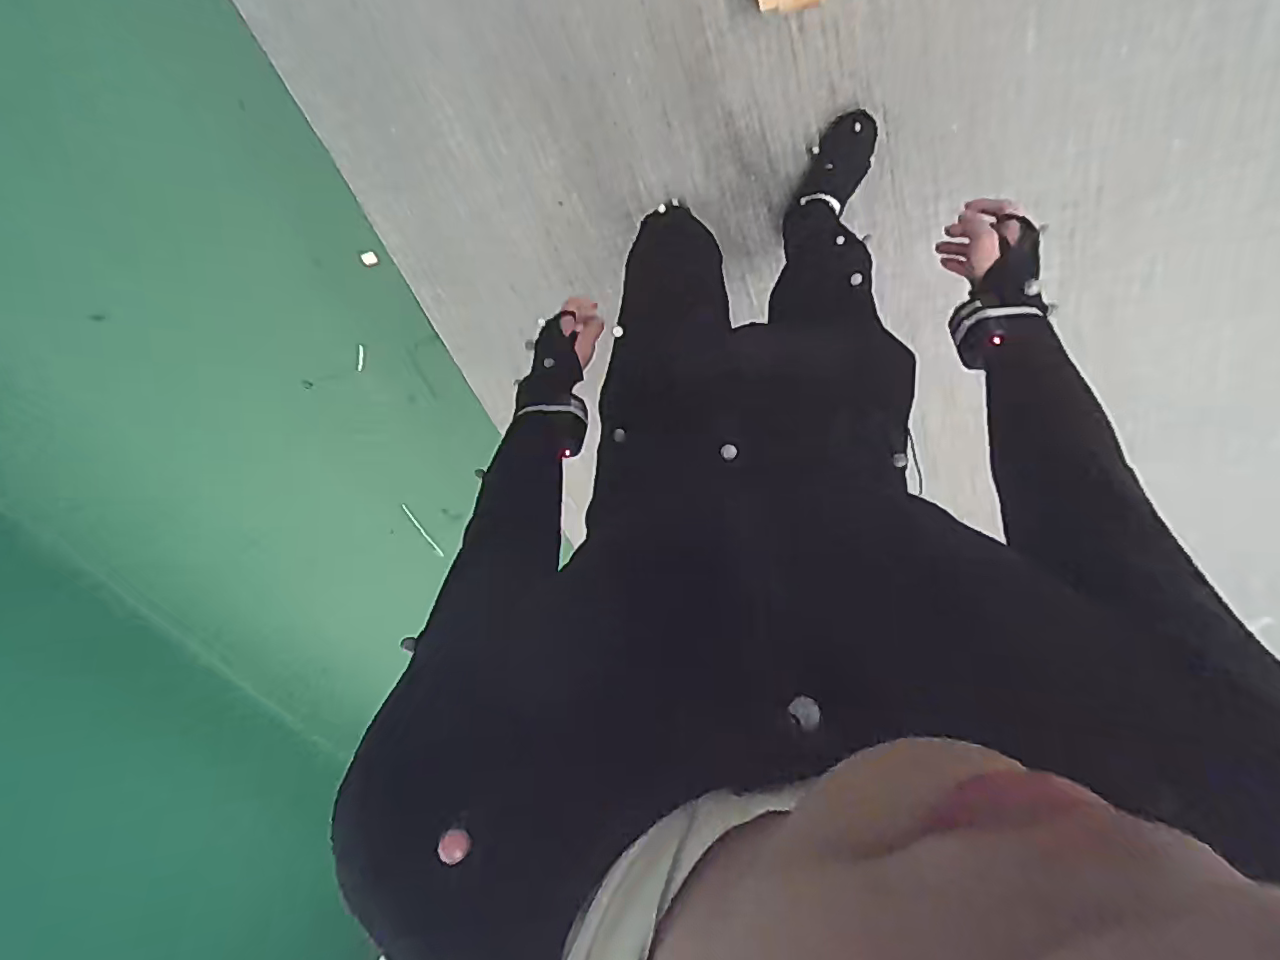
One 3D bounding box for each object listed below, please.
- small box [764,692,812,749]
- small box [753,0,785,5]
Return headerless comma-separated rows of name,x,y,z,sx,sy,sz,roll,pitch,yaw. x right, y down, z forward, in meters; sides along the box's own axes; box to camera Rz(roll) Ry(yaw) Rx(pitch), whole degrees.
small box,0.610,0.985,2.231,0.168,0.176,0.179,-8,127,21
small box,0.281,-0.966,0.948,0.168,0.176,0.179,1,130,17
